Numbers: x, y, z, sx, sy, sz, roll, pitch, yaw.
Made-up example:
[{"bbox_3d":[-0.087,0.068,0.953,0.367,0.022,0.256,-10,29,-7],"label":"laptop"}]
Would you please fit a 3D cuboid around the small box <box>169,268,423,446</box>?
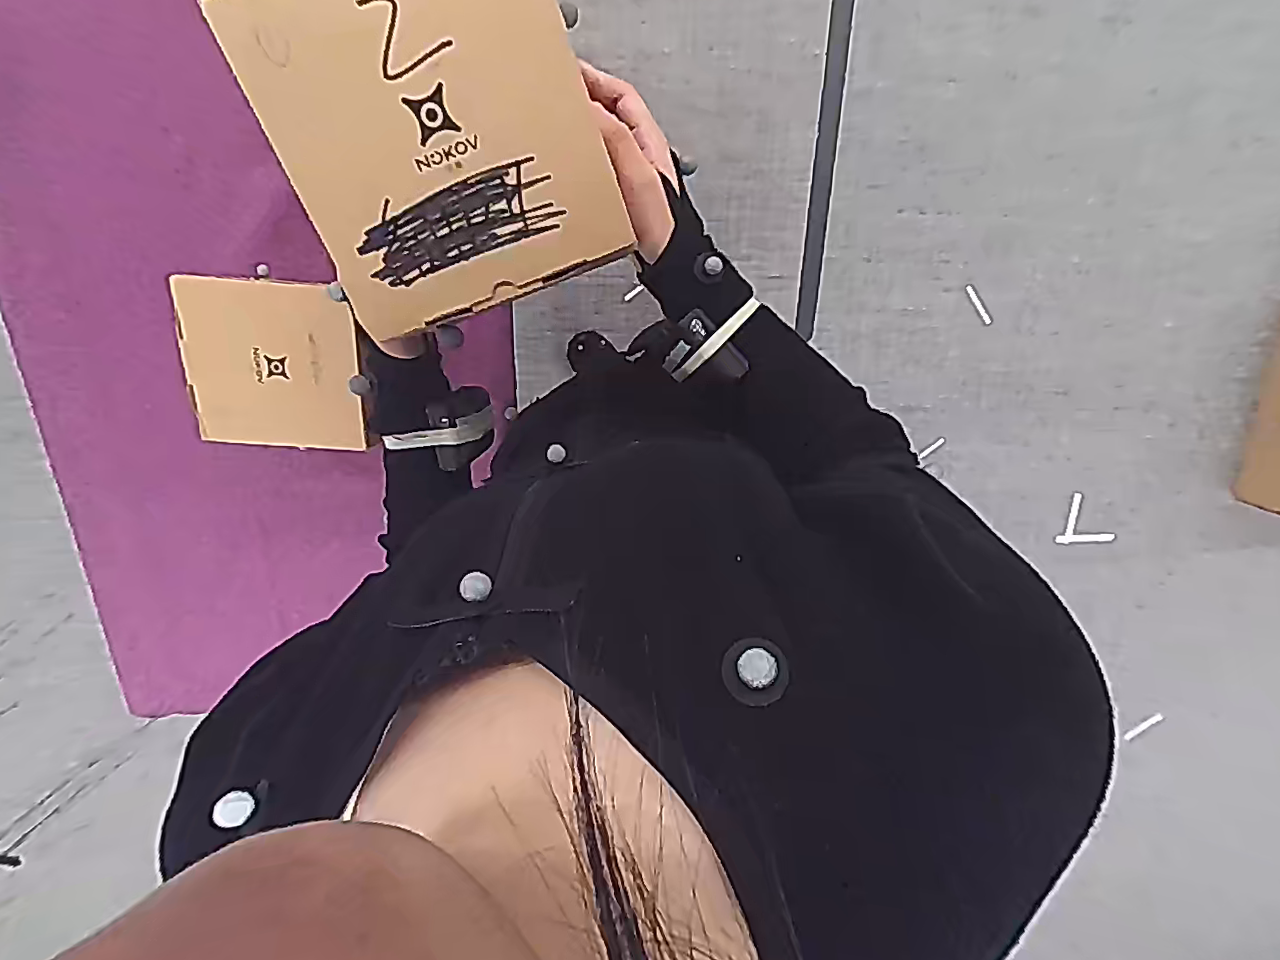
[{"bbox_3d":[-0.367,-0.142,0.614,0.179,0.176,0.168,3,109,-3],"label":"small box"}]
